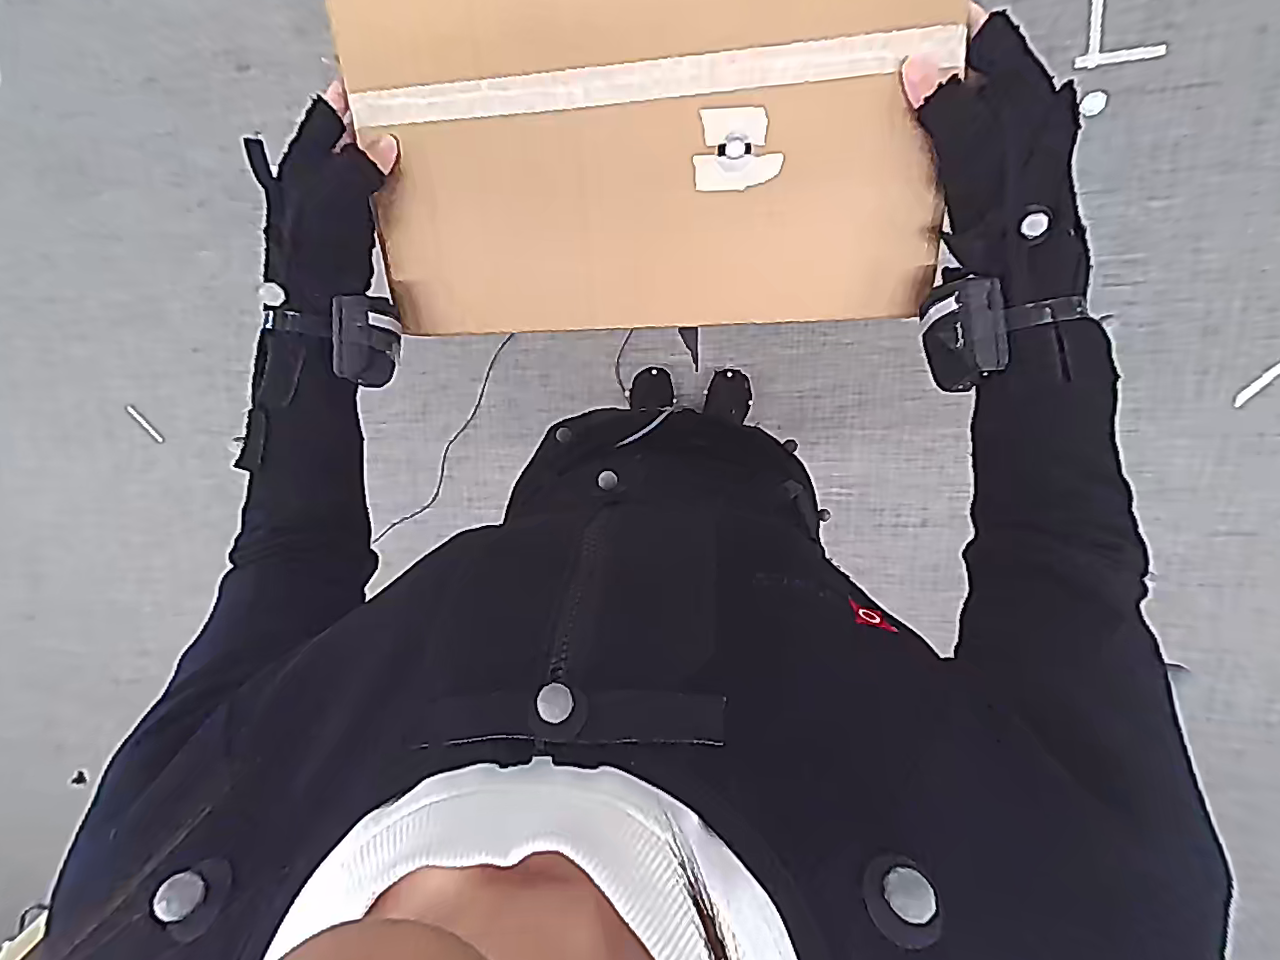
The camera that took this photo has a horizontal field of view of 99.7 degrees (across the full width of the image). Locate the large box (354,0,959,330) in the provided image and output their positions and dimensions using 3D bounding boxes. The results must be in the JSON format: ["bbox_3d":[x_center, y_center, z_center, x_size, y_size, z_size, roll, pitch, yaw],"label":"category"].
[{"bbox_3d":[0.019,-0.325,0.506,0.408,0.320,0.320,0,112,8],"label":"large box"}]
